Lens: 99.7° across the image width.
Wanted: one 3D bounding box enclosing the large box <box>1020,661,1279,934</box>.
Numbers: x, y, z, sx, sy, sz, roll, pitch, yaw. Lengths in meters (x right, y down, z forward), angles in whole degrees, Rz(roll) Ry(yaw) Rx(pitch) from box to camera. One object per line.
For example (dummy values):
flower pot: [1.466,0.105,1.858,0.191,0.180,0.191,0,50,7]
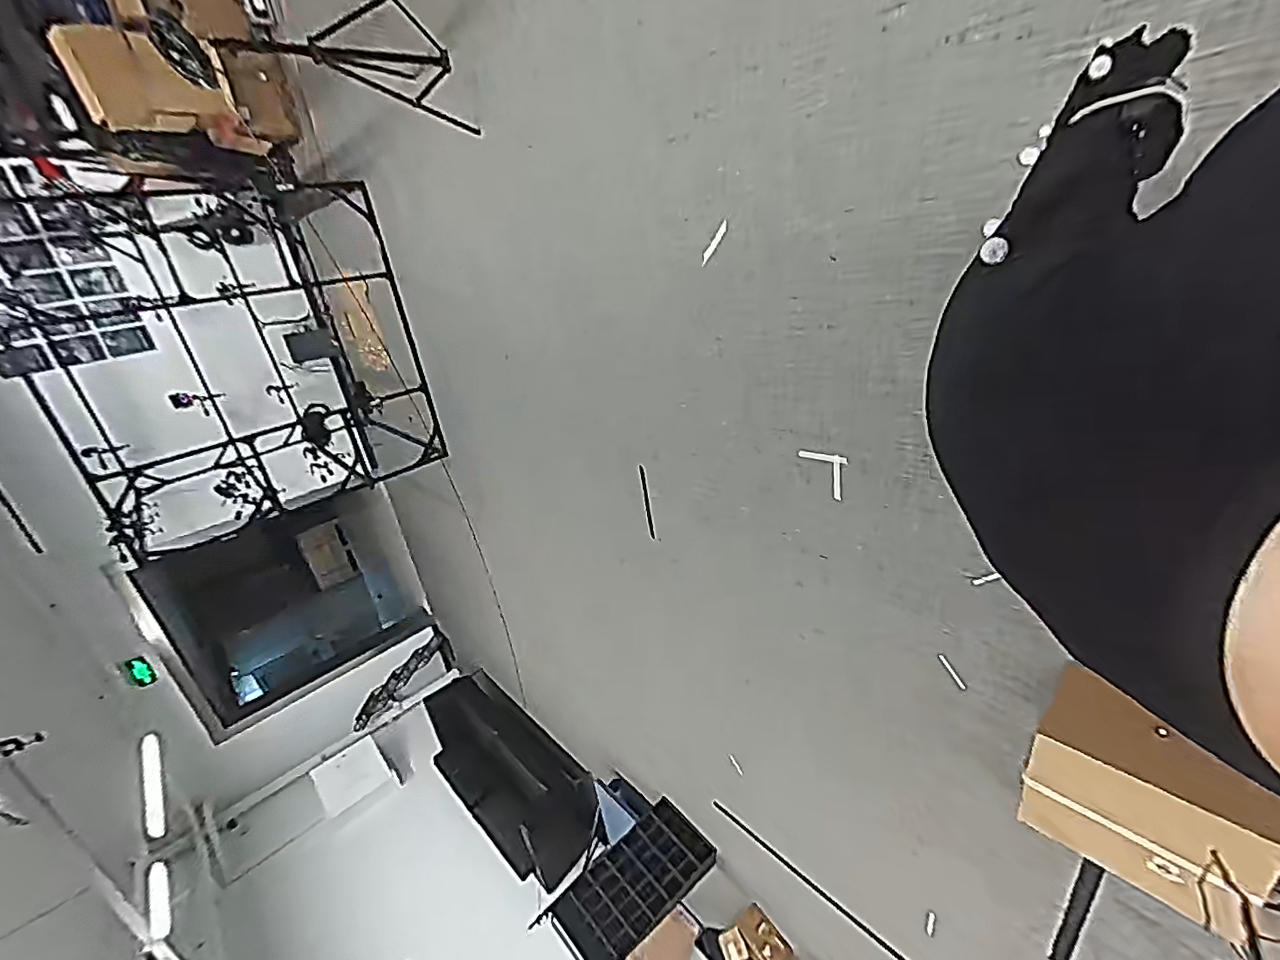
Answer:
large box: [1.195,0.705,1.277,0.408,0.320,0.320,18,125,45]
